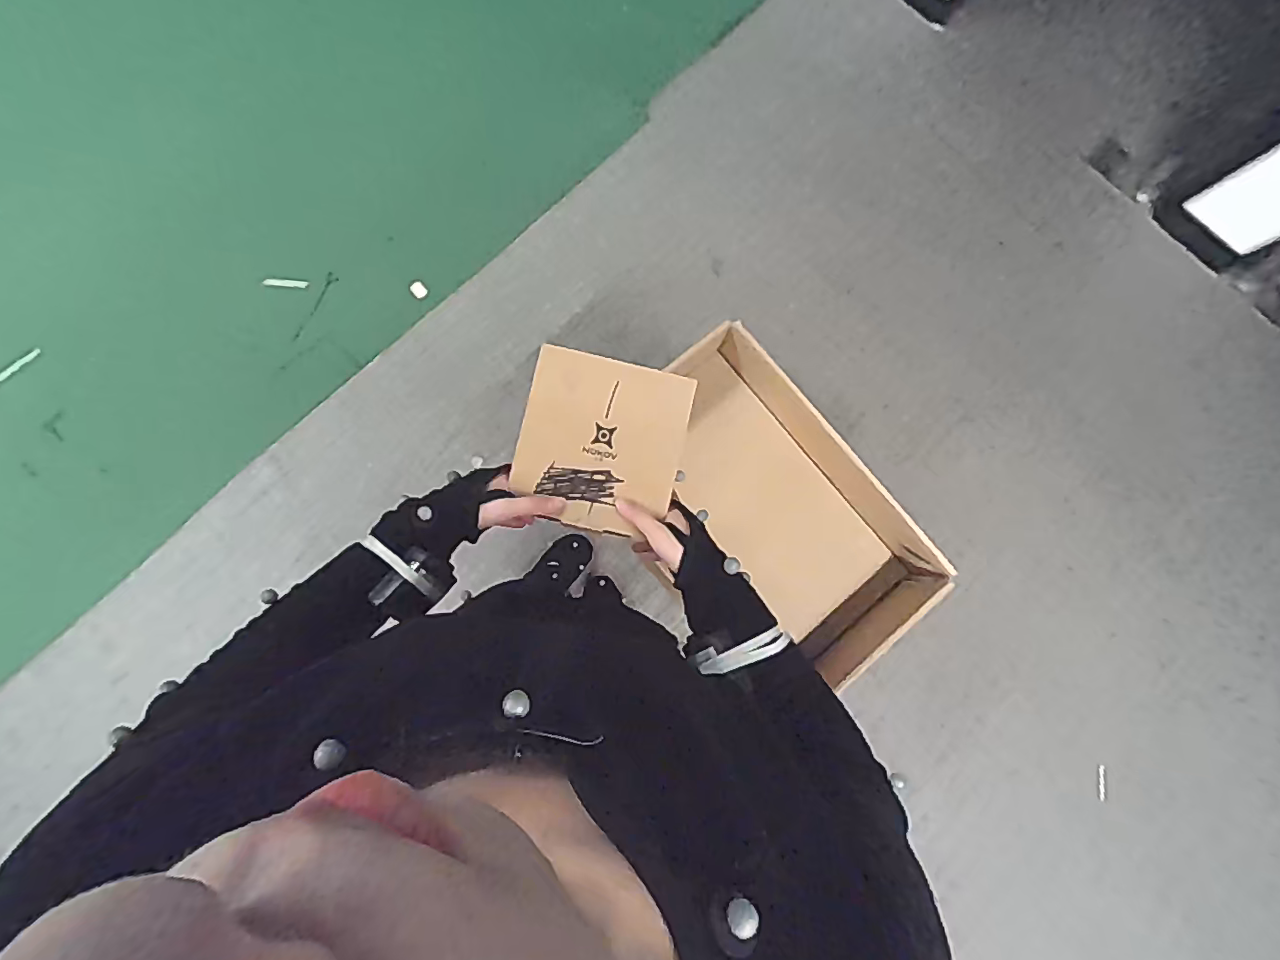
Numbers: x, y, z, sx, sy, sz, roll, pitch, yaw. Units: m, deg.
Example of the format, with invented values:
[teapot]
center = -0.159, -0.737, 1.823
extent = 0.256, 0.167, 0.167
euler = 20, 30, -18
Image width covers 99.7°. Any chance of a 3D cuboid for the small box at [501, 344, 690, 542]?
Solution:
[small box]
center = -0.048, -0.036, 0.631
extent = 0.168, 0.176, 0.179
euler = 12, 88, -3
